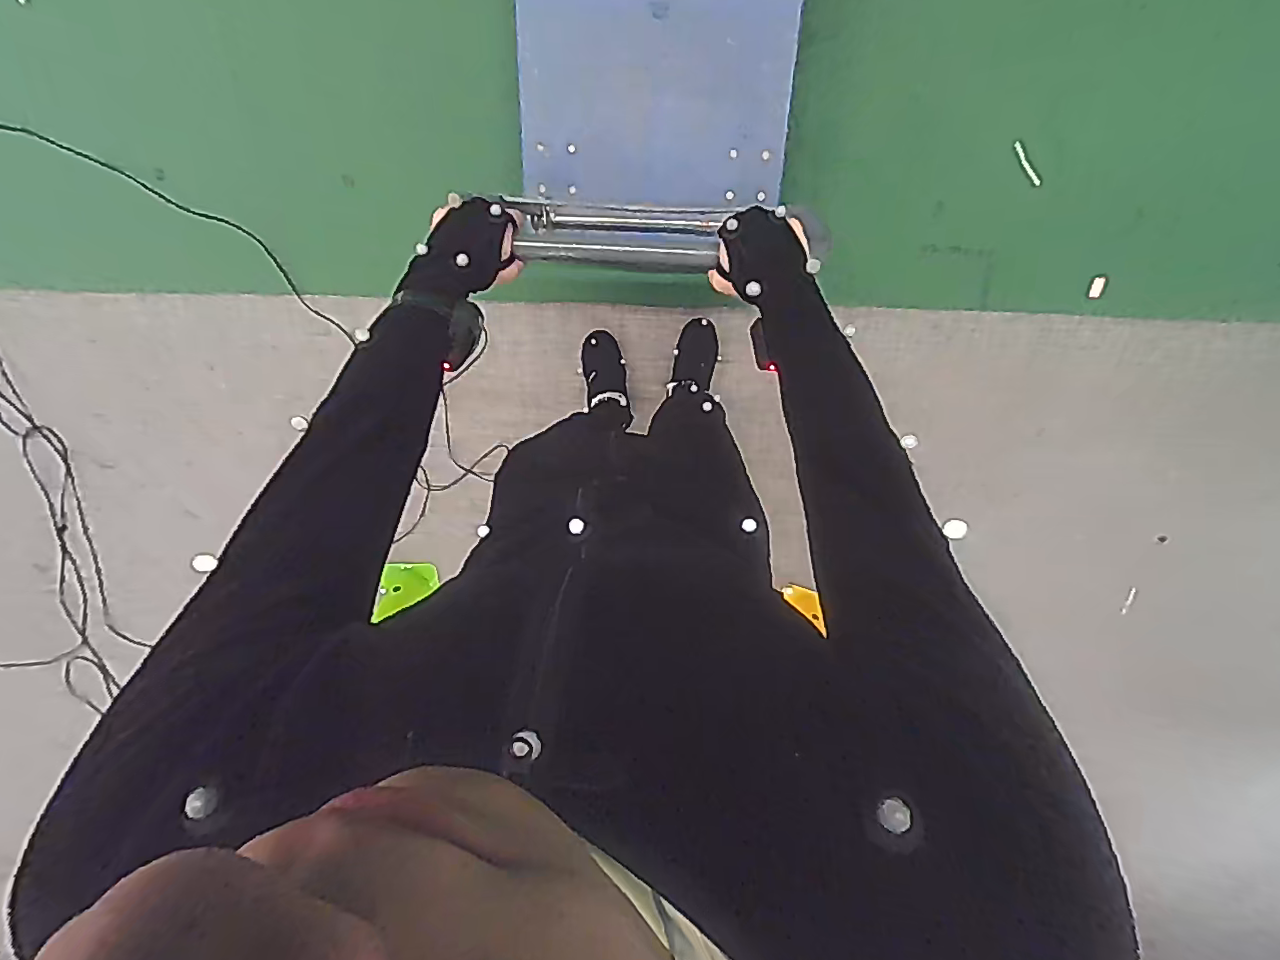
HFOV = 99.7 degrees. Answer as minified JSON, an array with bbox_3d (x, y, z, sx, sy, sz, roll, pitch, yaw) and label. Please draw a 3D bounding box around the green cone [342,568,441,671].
[{"bbox_3d":[-0.804,0.452,1.690,0.202,0.368,0.200,-1,113,5],"label":"green cone"}]
